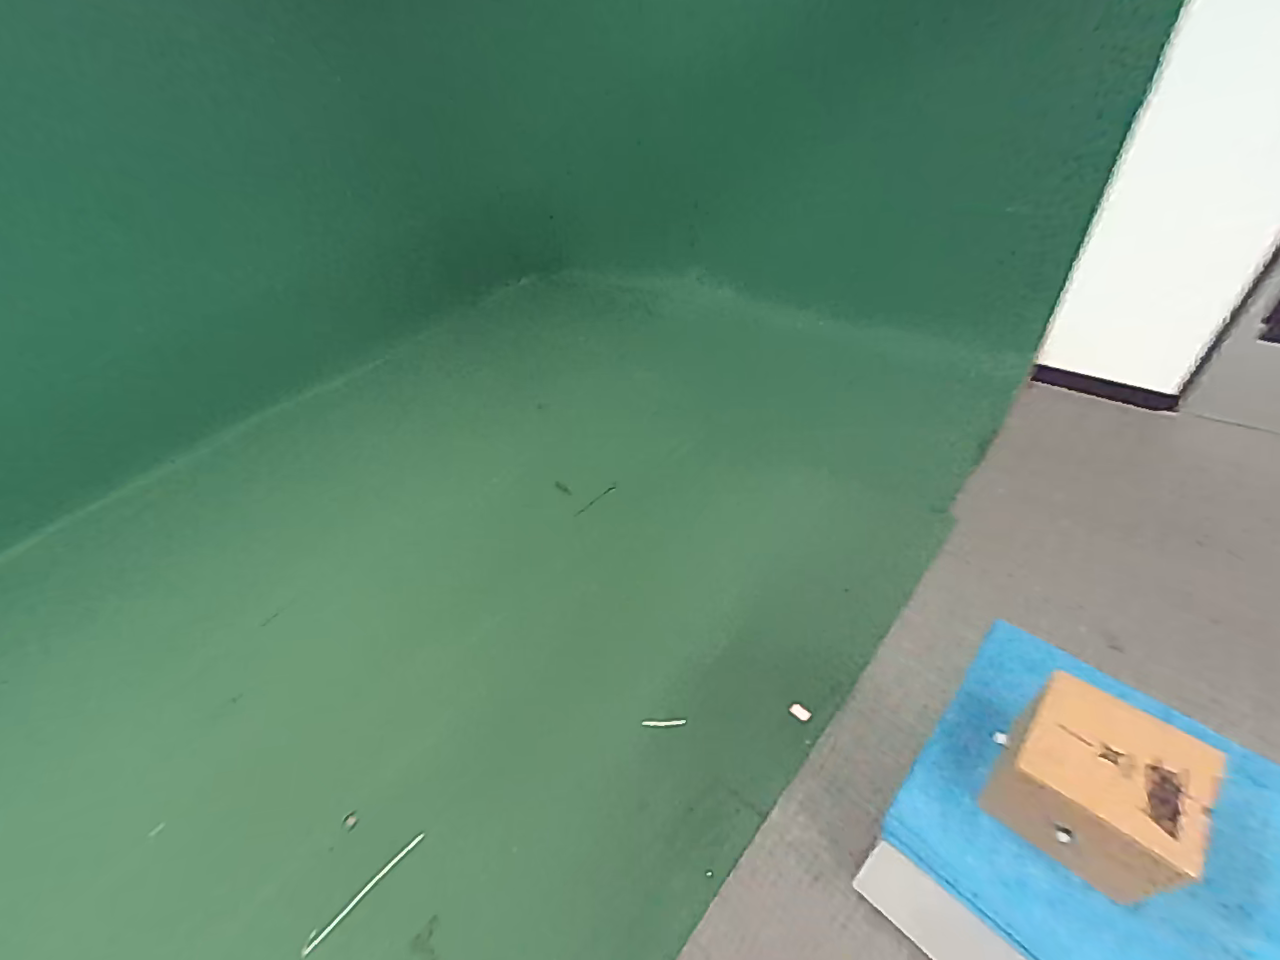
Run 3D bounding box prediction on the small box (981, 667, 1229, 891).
[{"bbox_3d":[0.585,0.389,0.700,0.179,0.176,0.168,30,56,34],"label":"small box"}]
